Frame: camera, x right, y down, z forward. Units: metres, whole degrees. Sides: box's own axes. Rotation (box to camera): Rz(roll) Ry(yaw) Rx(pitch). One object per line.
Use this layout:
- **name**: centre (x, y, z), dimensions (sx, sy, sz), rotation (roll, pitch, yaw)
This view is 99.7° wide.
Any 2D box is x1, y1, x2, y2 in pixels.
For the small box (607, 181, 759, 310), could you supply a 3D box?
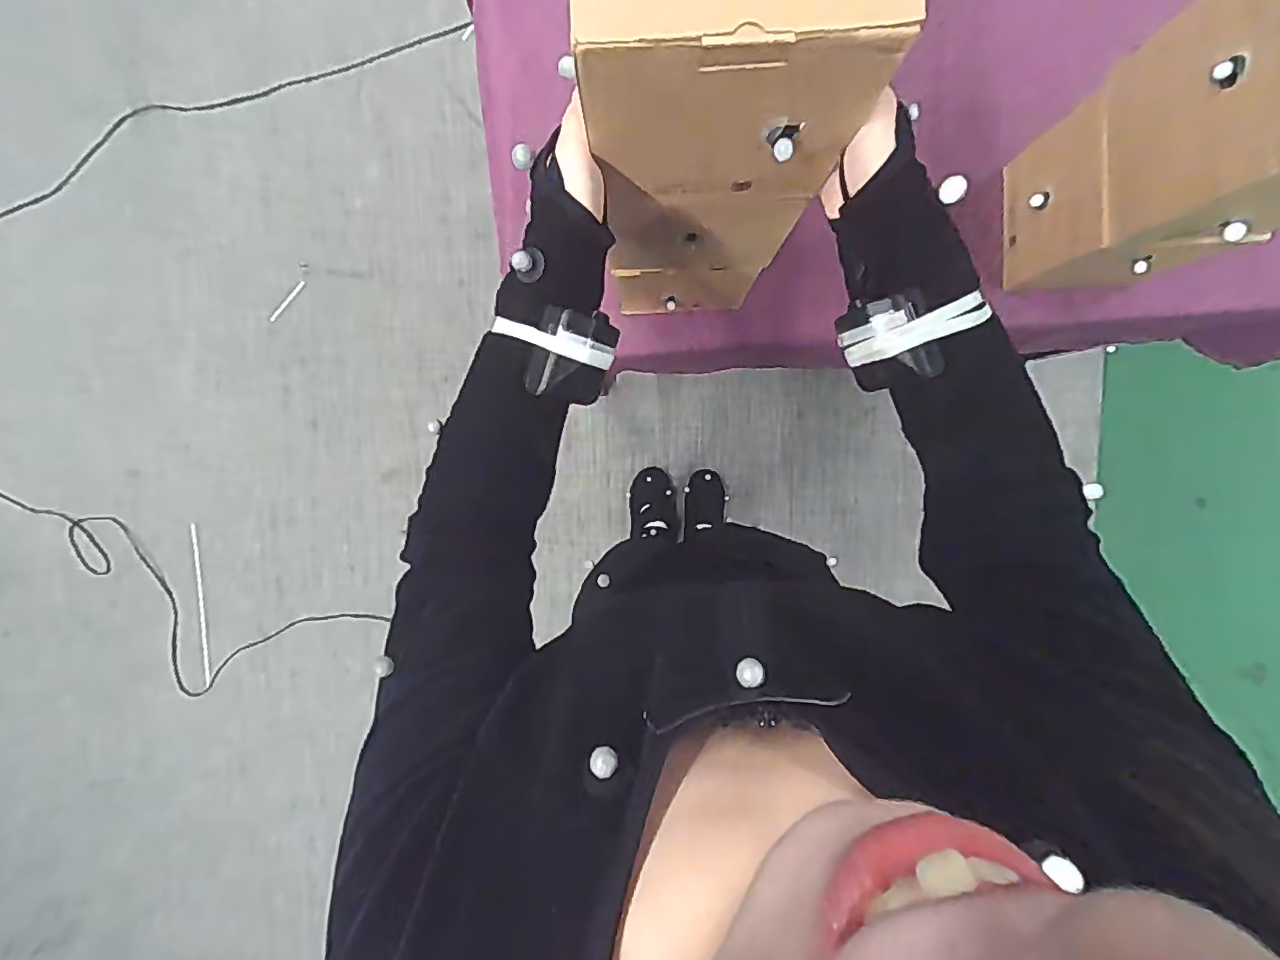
- **small box**: centre (0.047, -0.320, 0.662), dimensions (0.168, 0.176, 0.179), rotation (-2, 94, 2)

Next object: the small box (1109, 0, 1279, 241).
- **small box**: centre (0.561, -0.335, 0.477), dimensions (0.168, 0.176, 0.179), rotation (-5, 94, 3)

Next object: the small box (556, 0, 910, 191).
- **small box**: centre (0.042, -0.294, 0.325), dimensions (0.168, 0.176, 0.179), rotation (-2, 93, 1)

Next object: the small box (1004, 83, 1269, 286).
- **small box**: centre (0.568, -0.337, 0.641), dimensions (0.179, 0.176, 0.168), rotation (-2, 94, 2)
